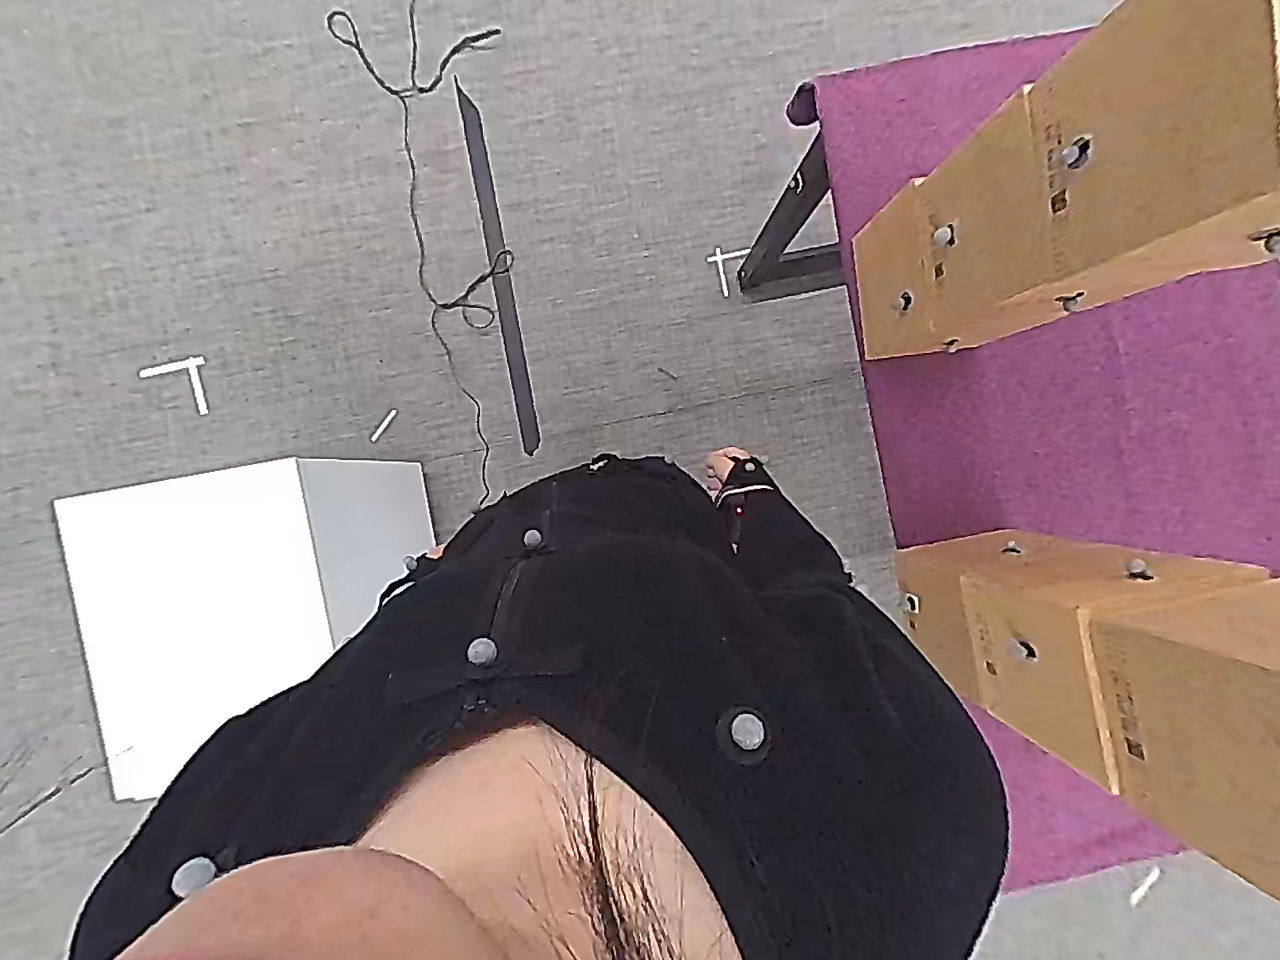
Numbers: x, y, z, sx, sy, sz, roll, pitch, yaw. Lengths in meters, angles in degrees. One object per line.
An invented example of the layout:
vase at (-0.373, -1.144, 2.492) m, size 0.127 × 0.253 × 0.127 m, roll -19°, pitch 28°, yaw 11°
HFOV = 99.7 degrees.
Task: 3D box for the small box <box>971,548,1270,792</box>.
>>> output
small box at (0.465, 0.170, 0.540) m, size 0.179 × 0.176 × 0.168 m, roll -11°, pitch 90°, yaw -2°

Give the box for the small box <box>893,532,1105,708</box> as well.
small box at (0.464, 0.168, 0.703) m, size 0.179 × 0.176 × 0.168 m, roll -11°, pitch 90°, yaw 0°

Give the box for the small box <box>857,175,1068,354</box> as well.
small box at (0.396, -0.265, 0.690) m, size 0.168 × 0.176 × 0.179 m, roll -7°, pitch 91°, yaw -2°

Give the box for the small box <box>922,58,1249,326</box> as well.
small box at (0.411, -0.259, 0.526) m, size 0.179 × 0.176 × 0.168 m, roll -8°, pitch 92°, yaw 0°

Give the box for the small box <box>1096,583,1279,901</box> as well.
small box at (0.481, 0.178, 0.377) m, size 0.179 × 0.176 × 0.168 m, roll -11°, pitch 90°, yaw -3°
